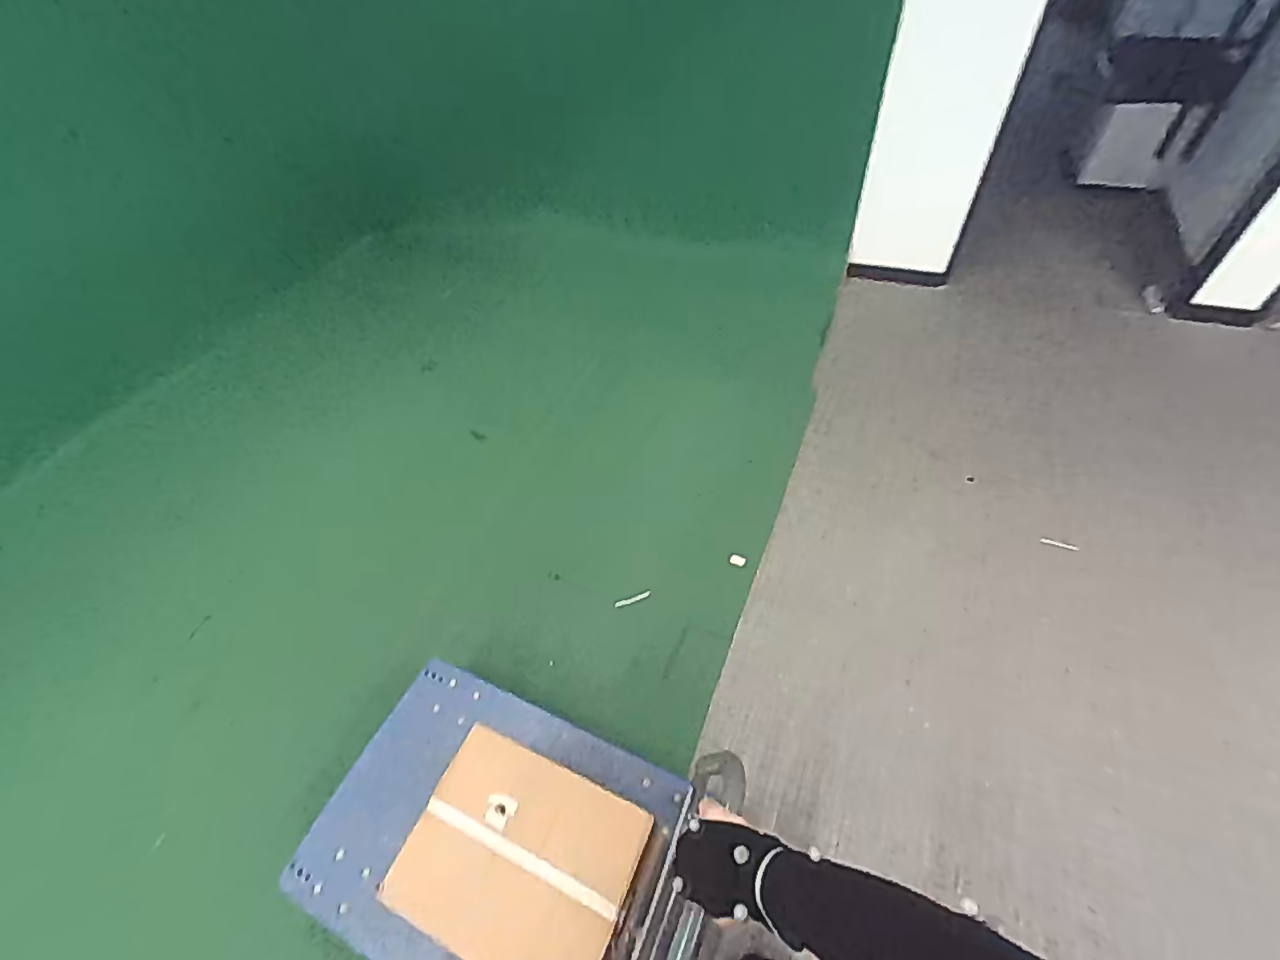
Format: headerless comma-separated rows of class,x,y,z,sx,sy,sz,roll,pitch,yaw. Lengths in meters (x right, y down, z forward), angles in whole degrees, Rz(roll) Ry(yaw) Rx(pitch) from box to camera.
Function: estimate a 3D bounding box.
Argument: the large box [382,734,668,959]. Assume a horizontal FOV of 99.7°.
large box,-0.191,0.768,1.067,0.408,0.320,0.320,16,55,20
